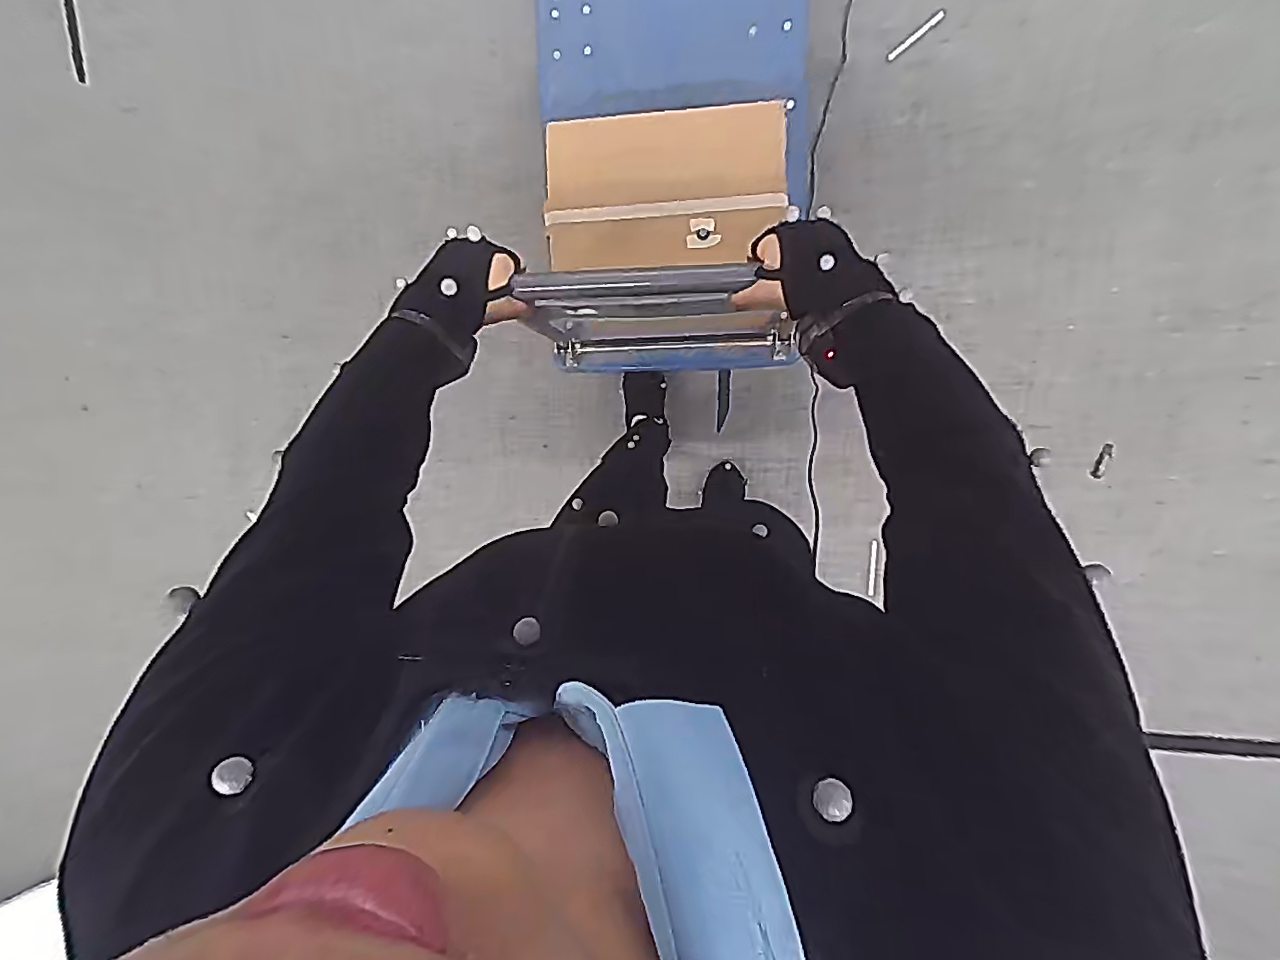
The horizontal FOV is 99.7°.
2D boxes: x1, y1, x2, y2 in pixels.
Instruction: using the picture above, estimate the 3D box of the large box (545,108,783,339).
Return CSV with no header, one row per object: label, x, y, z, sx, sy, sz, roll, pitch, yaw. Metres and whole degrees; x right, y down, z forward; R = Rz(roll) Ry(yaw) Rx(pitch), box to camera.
large box,0.055,-0.464,1.063,0.408,0.320,0.320,-1,98,7
